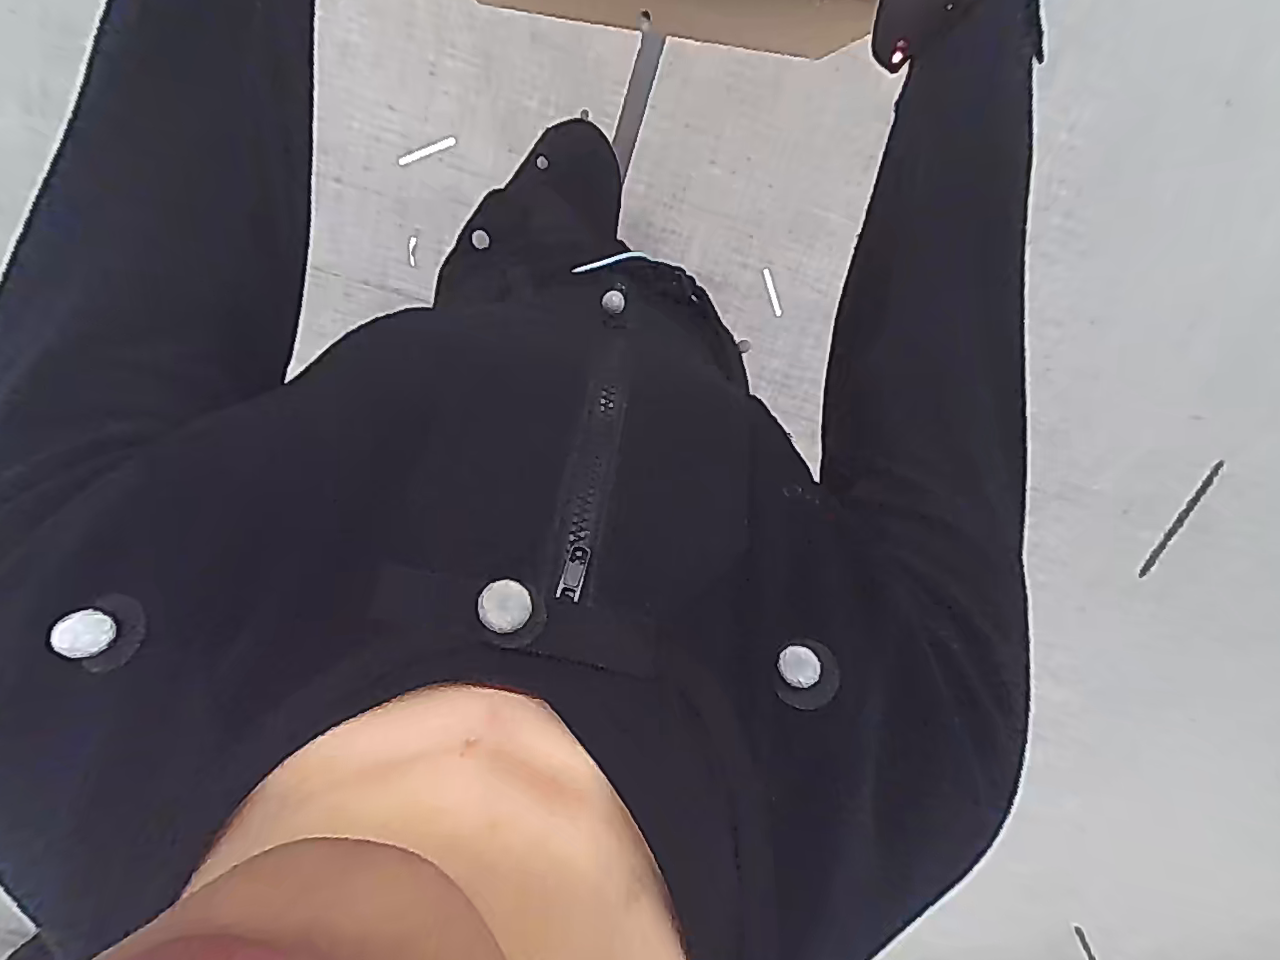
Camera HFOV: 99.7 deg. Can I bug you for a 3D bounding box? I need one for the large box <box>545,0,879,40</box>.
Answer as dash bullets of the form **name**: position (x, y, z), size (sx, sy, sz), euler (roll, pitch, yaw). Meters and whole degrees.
- **large box**: position (0.028, -0.582, 0.422), size (0.408, 0.320, 0.320), euler (9, 122, -1)
